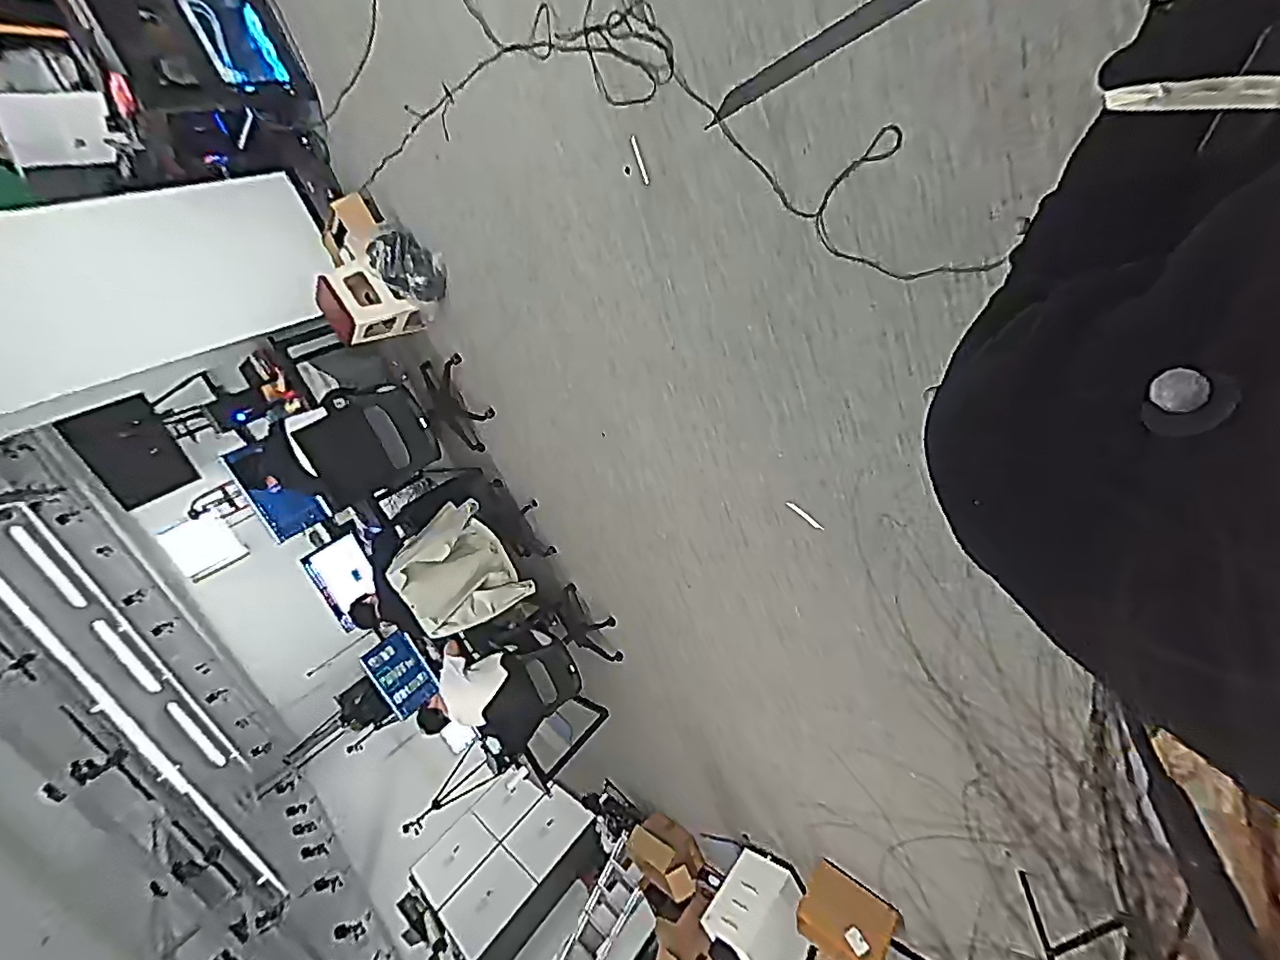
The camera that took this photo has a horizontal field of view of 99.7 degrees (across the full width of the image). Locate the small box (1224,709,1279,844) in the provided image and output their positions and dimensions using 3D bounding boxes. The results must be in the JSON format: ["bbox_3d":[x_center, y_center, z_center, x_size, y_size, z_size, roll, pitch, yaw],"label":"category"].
[{"bbox_3d":[1.222,0.563,1.008,0.179,0.176,0.168,1,119,49],"label":"small box"}]

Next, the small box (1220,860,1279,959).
[{"bbox_3d":[1.010,0.726,0.816,0.179,0.176,0.168,5,123,46],"label":"small box"}]
